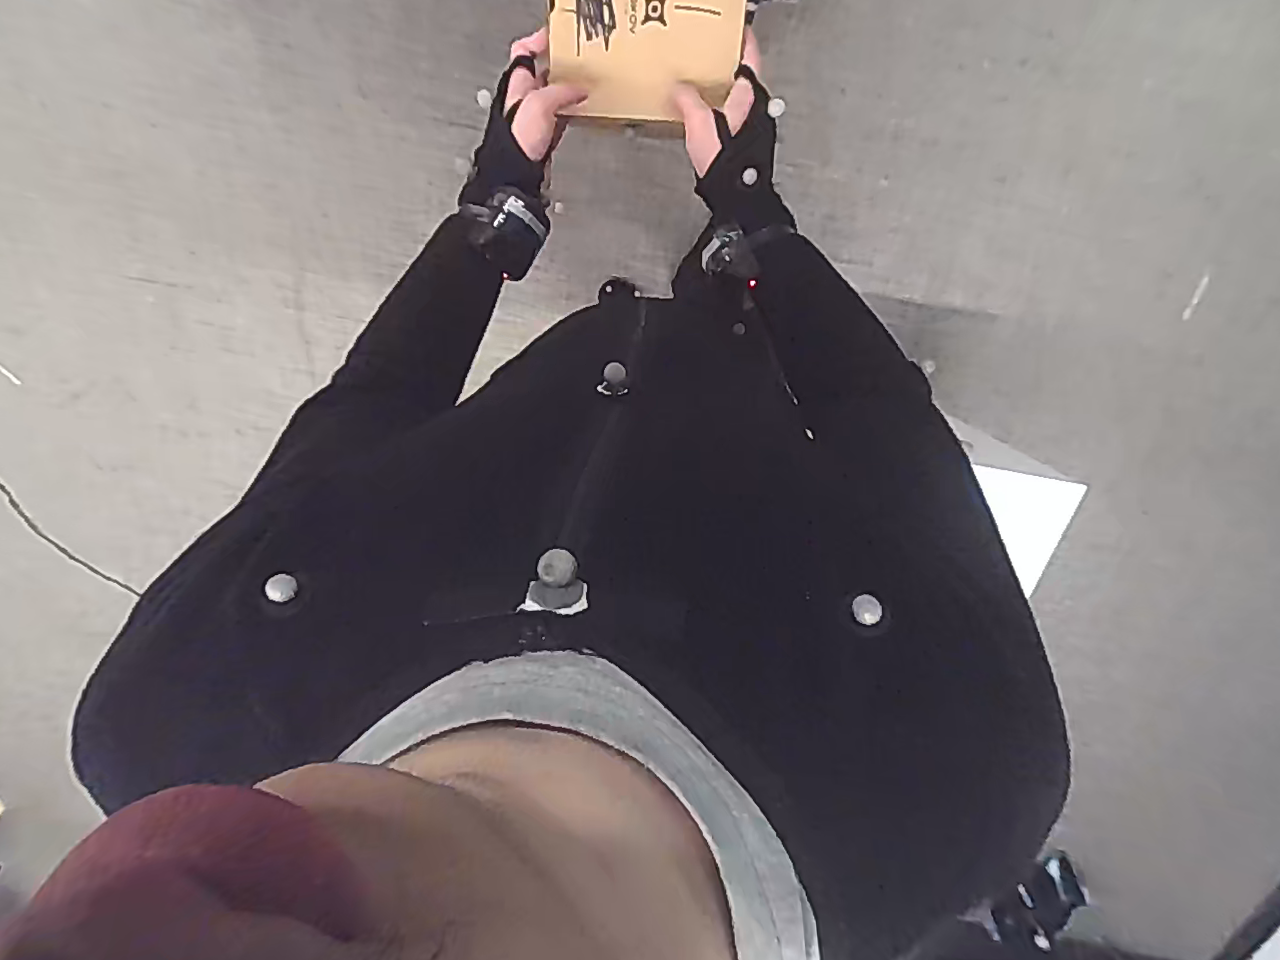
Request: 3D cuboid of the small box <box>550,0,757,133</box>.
[{"bbox_3d":[0.014,-0.443,0.519,0.179,0.176,0.168,4,117,-1],"label":"small box"}]
